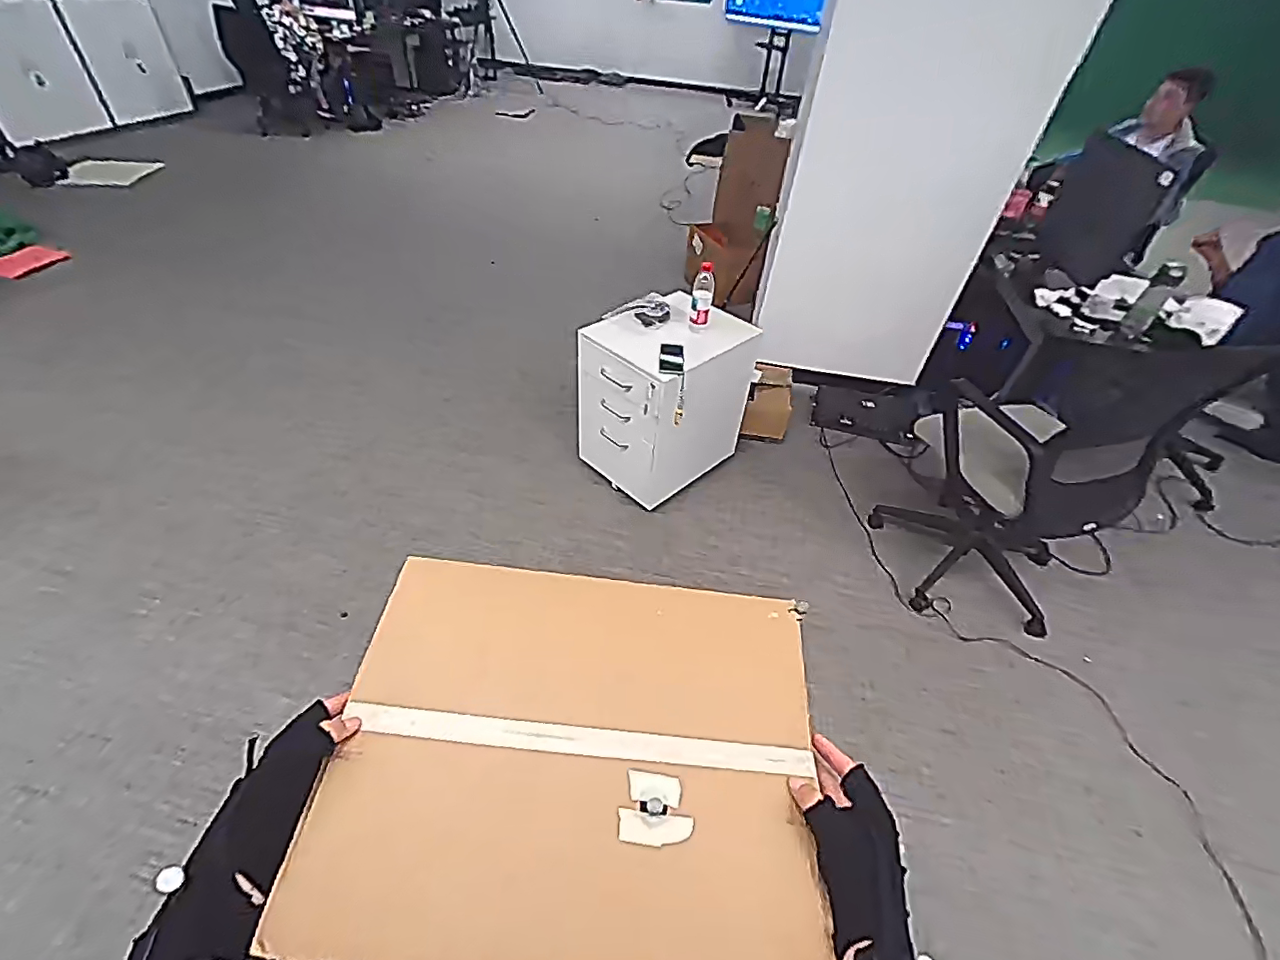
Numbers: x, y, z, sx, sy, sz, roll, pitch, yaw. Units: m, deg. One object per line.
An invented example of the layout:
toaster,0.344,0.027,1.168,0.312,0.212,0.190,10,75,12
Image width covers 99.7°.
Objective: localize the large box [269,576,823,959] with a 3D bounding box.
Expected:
large box,-0.070,0.330,0.589,0.408,0.320,0.320,7,52,-2
